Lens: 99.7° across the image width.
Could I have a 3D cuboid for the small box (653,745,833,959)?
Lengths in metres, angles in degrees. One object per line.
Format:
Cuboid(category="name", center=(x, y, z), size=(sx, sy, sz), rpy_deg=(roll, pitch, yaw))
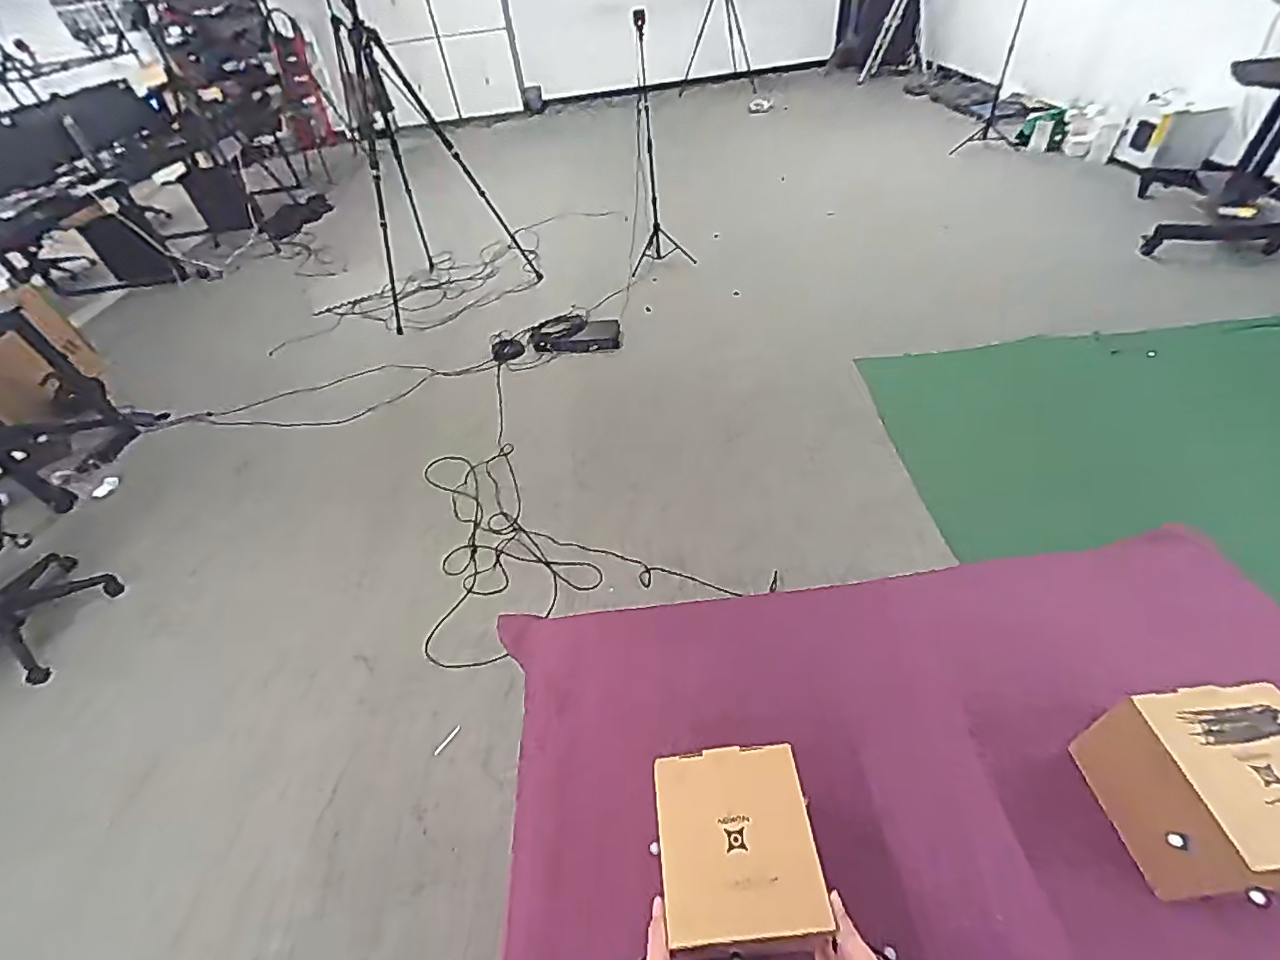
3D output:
Cuboid(category="small box", center=(0.107, 0.434, 0.625), size=(0.168, 0.176, 0.179), rpy_deg=(-7, 44, 3))
